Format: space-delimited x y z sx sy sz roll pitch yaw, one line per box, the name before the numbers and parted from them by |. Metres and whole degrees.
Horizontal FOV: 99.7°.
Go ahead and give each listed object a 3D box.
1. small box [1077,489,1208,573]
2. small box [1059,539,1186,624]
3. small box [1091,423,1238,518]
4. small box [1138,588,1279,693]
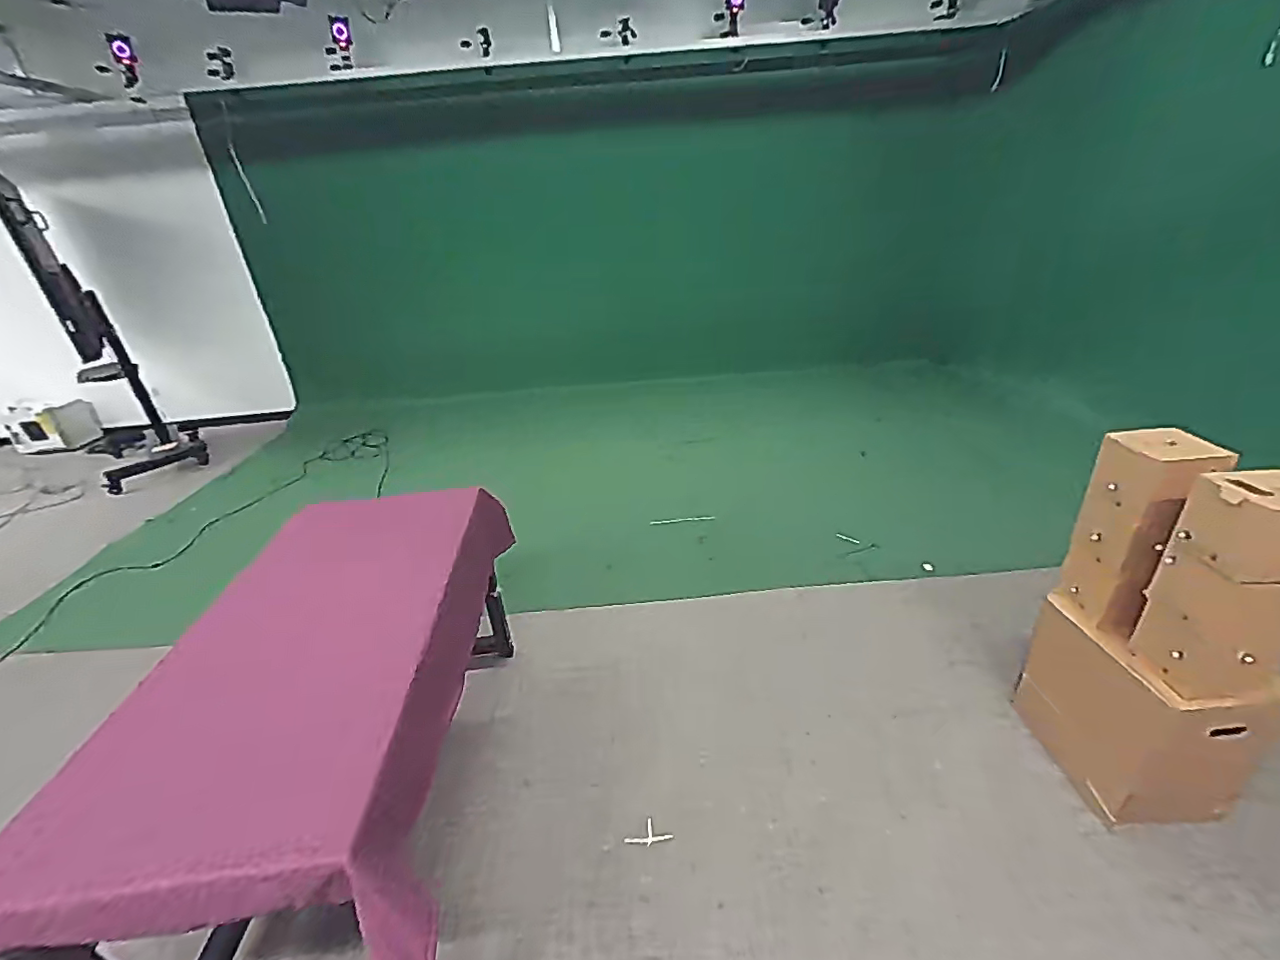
small box | 1.273 0.124 1.391 0.179 0.176 0.168 -6 28 2
small box | 1.294 0.268 1.466 0.179 0.176 0.168 -7 29 1
small box | 1.260 -0.024 1.317 0.179 0.176 0.168 -6 28 2
small box | 1.316 0.373 1.255 0.179 0.176 0.168 -3 27 3
